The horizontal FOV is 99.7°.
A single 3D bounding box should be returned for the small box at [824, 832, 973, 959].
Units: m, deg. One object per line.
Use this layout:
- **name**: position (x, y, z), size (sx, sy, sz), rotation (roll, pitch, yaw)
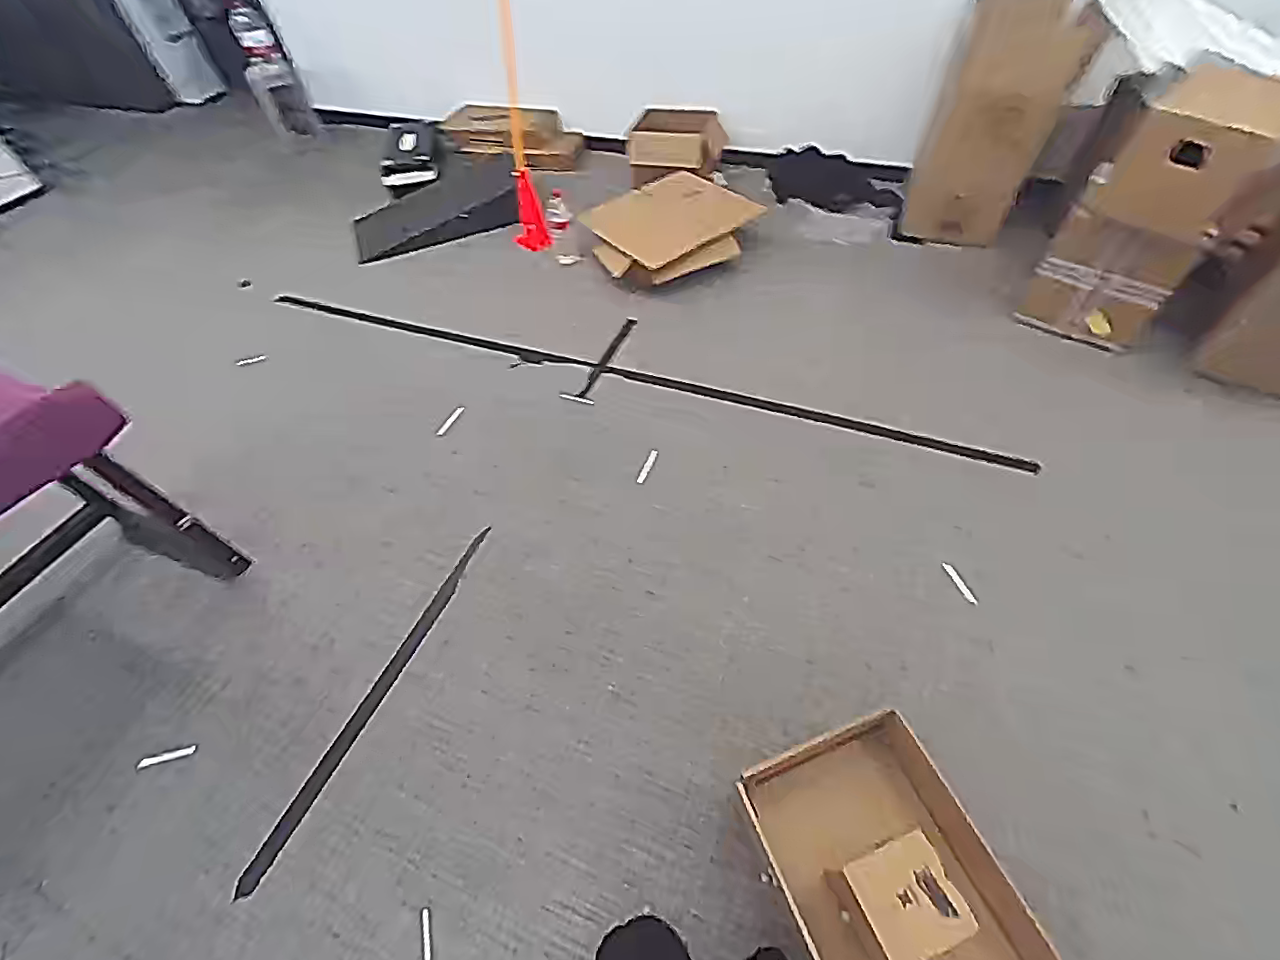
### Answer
- **small box**: position (0.487, 0.812, 1.049), size (0.179, 0.176, 0.168), rotation (-19, 54, -10)
